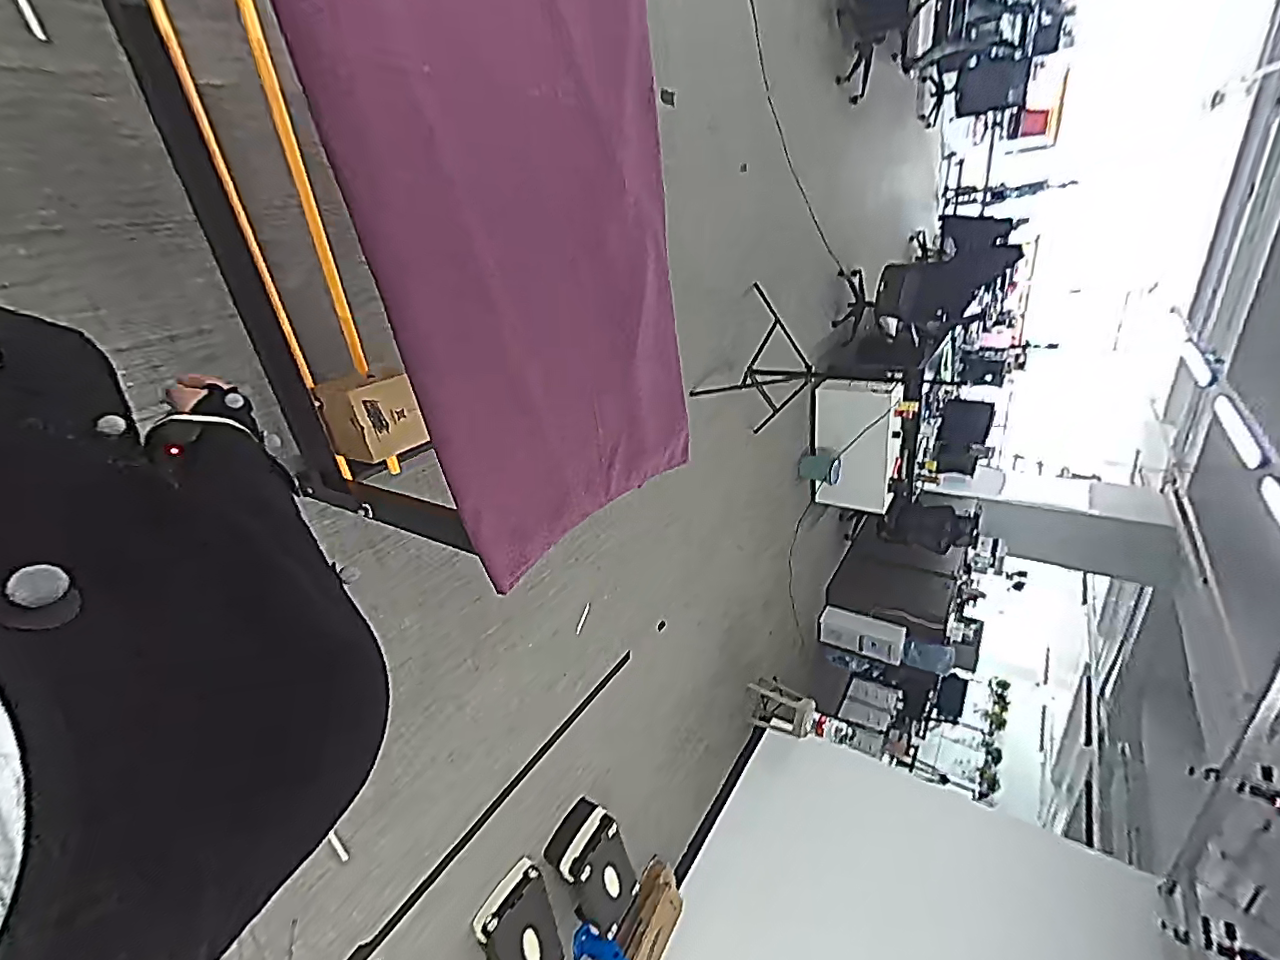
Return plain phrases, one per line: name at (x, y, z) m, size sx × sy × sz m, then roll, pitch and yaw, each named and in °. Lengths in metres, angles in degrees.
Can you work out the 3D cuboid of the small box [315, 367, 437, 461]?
small box at (-0.603, -0.155, 1.229) m, size 0.179 × 0.176 × 0.168 m, roll -36°, pitch 127°, yaw -46°
